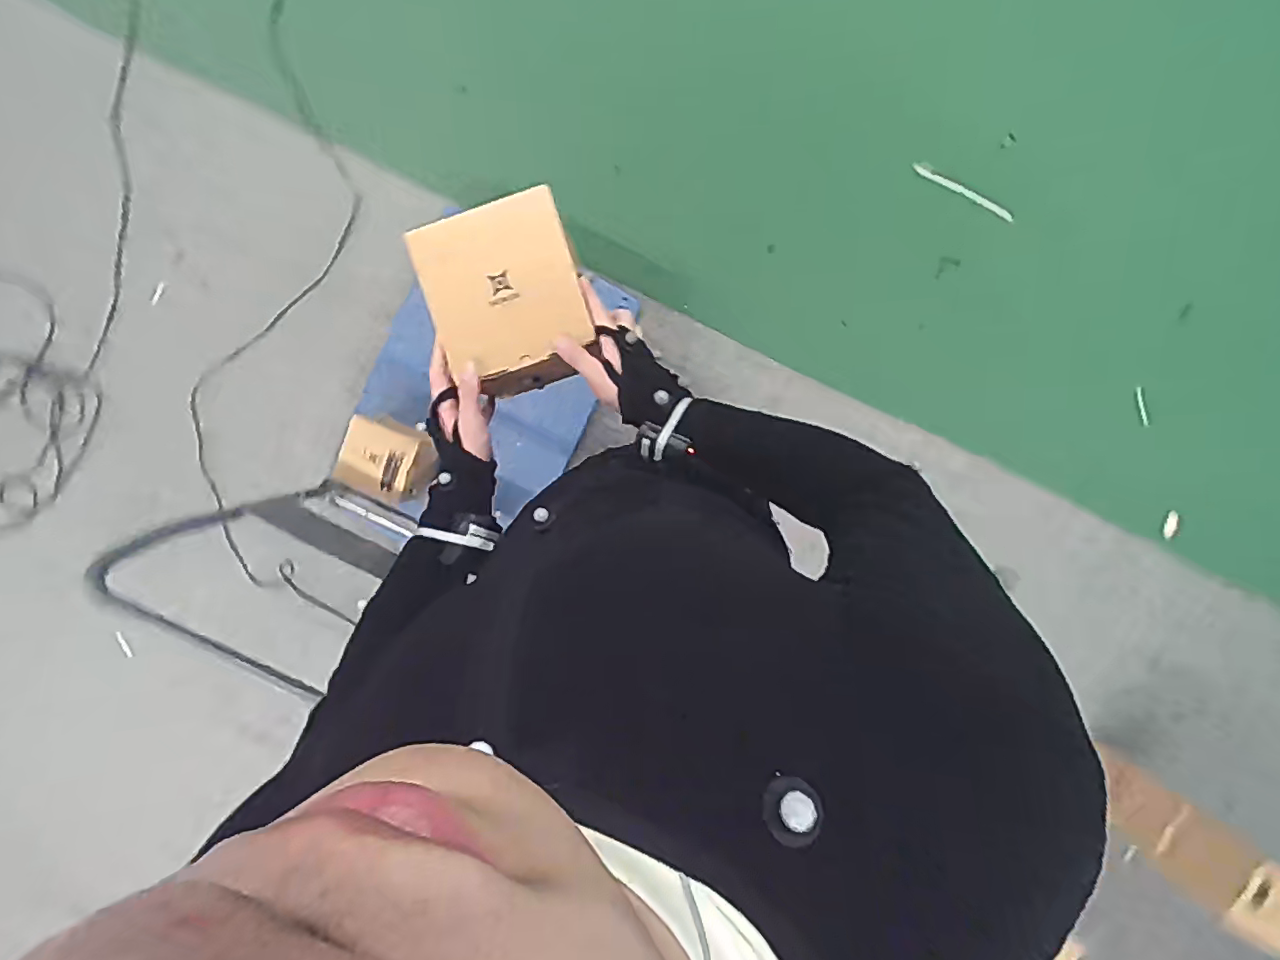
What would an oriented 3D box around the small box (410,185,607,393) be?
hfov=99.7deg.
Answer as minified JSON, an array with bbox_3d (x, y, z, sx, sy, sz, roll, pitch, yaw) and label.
[{"bbox_3d":[-0.145,-0.215,0.660,0.168,0.176,0.179,-18,95,2],"label":"small box"}]

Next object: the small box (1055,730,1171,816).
[{"bbox_3d":[1.414,0.896,1.627,0.168,0.176,0.179,31,95,-2],"label":"small box"}]

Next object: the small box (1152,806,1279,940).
[{"bbox_3d":[1.413,0.931,1.301,0.179,0.176,0.168,29,95,-2],"label":"small box"}]

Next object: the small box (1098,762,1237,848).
[{"bbox_3d":[1.412,0.905,1.464,0.179,0.176,0.168,30,95,-1],"label":"small box"}]
